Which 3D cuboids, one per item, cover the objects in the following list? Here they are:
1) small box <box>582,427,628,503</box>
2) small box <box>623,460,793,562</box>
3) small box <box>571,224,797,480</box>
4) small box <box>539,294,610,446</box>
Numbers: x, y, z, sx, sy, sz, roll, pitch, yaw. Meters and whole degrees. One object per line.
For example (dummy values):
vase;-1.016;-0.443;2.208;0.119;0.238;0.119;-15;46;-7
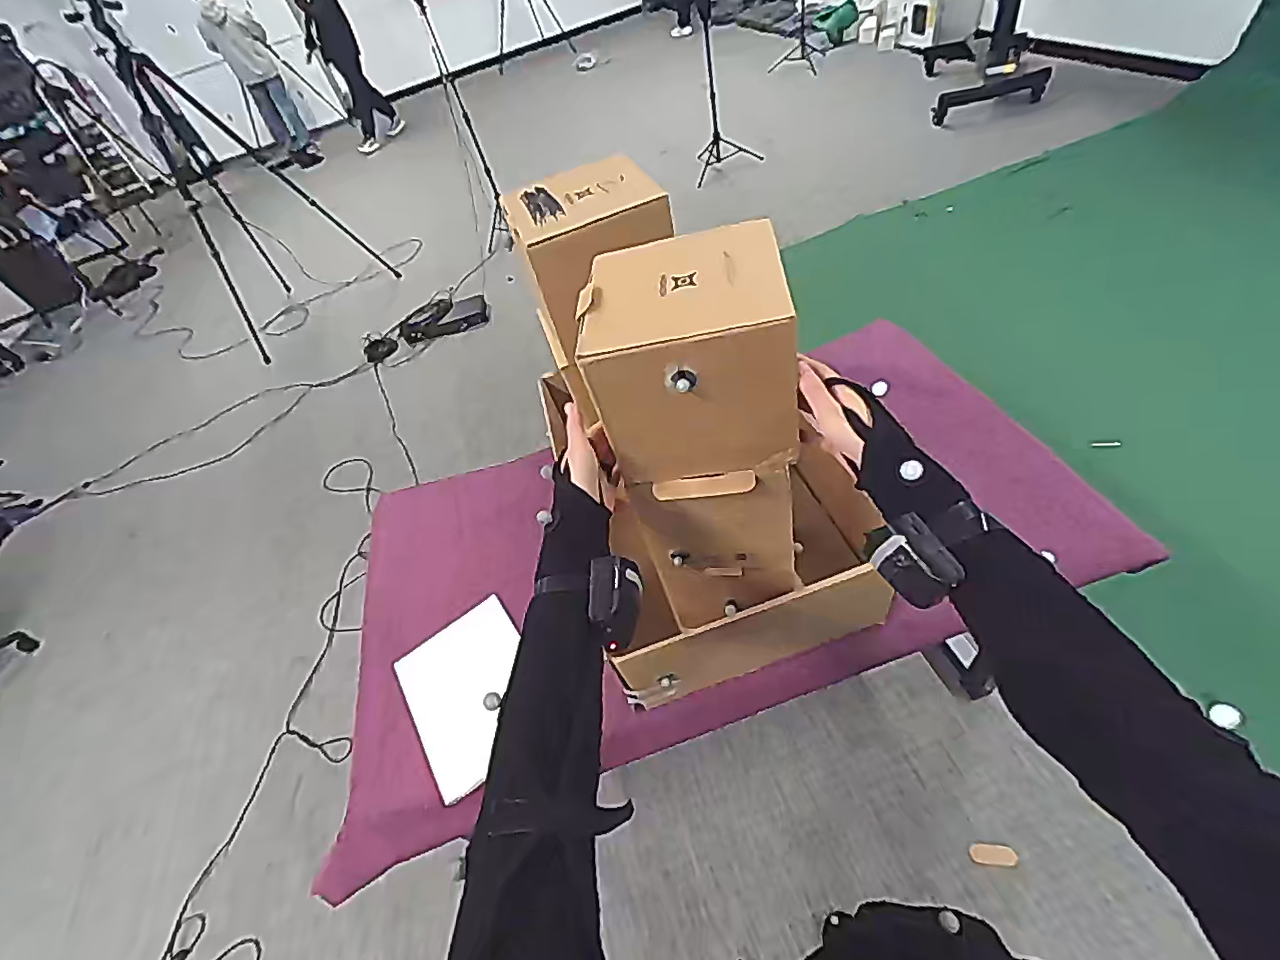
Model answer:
small box;-0.006;-0.079;0.960;0.168;0.176;0.179;-20;49;-1
small box;0.089;-0.012;0.647;0.168;0.176;0.179;-6;48;15
small box;0.052;-0.115;0.527;0.179;0.176;0.168;-7;48;12
small box;-0.034;-0.180;0.836;0.179;0.176;0.168;-22;49;-3
